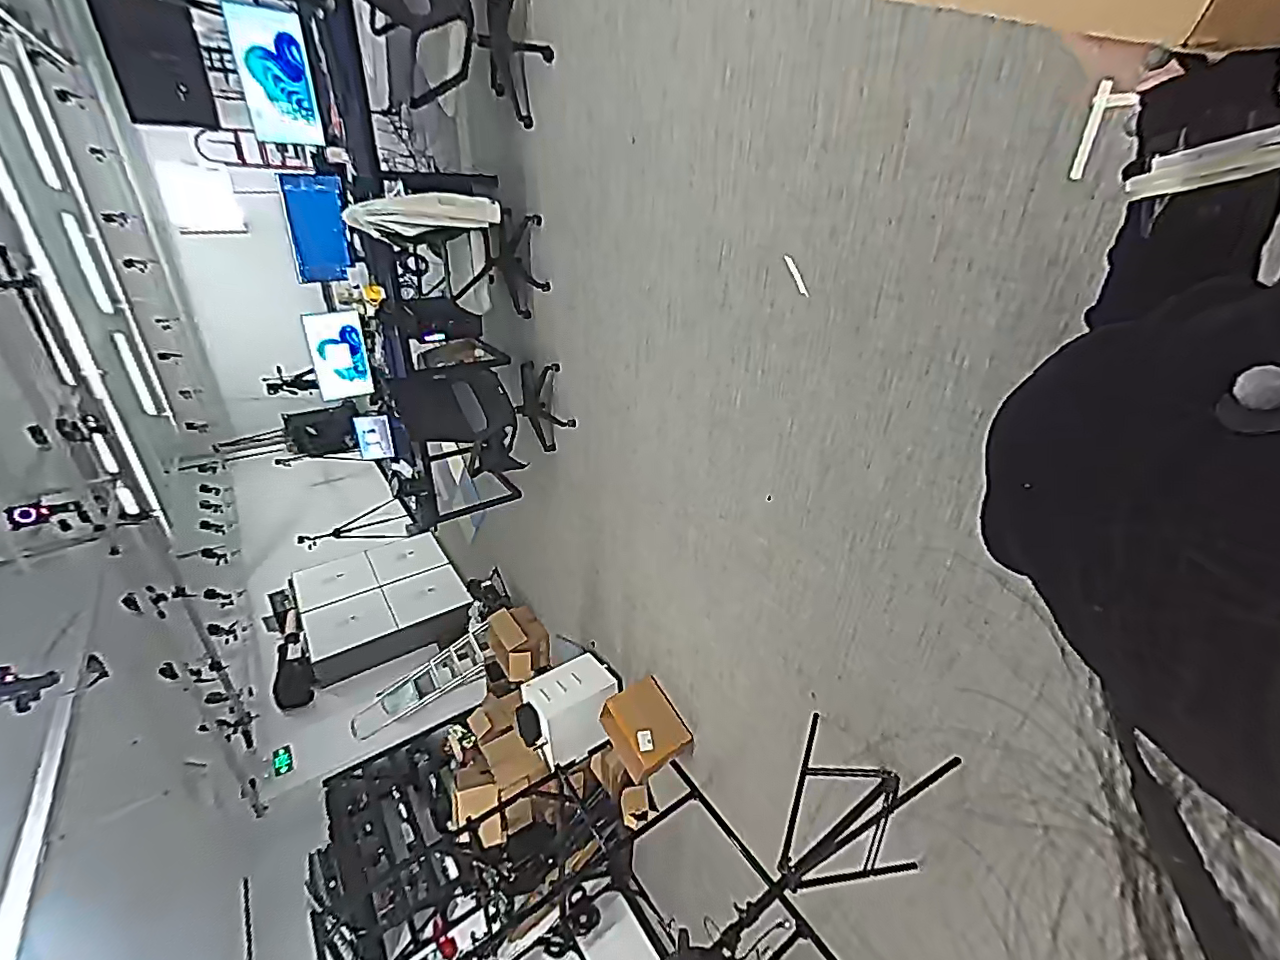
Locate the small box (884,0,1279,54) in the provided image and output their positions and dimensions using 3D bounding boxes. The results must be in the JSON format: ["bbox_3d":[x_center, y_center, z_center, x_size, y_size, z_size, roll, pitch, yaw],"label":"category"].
[{"bbox_3d":[0.255,-0.310,0.239,0.179,0.176,0.168,56,155,37],"label":"small box"}]
